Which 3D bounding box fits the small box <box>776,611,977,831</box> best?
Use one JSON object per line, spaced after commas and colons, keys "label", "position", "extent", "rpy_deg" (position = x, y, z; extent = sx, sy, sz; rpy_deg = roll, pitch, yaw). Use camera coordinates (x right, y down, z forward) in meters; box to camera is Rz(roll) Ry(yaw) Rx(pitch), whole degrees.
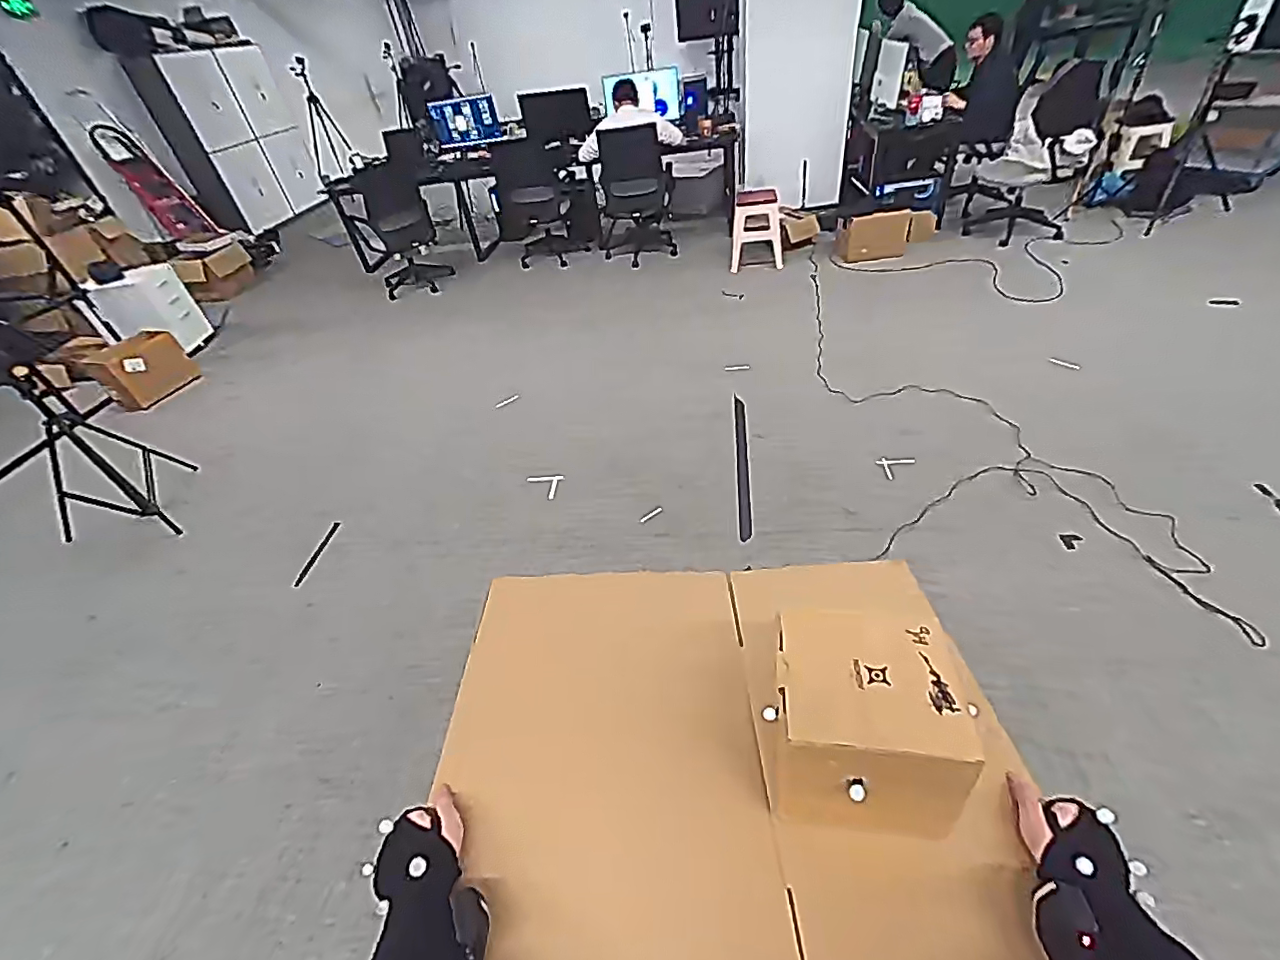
{"label": "small box", "position": [0.247, 0.270, 0.616], "extent": [0.179, 0.176, 0.168], "rpy_deg": [0, 36, 12]}
